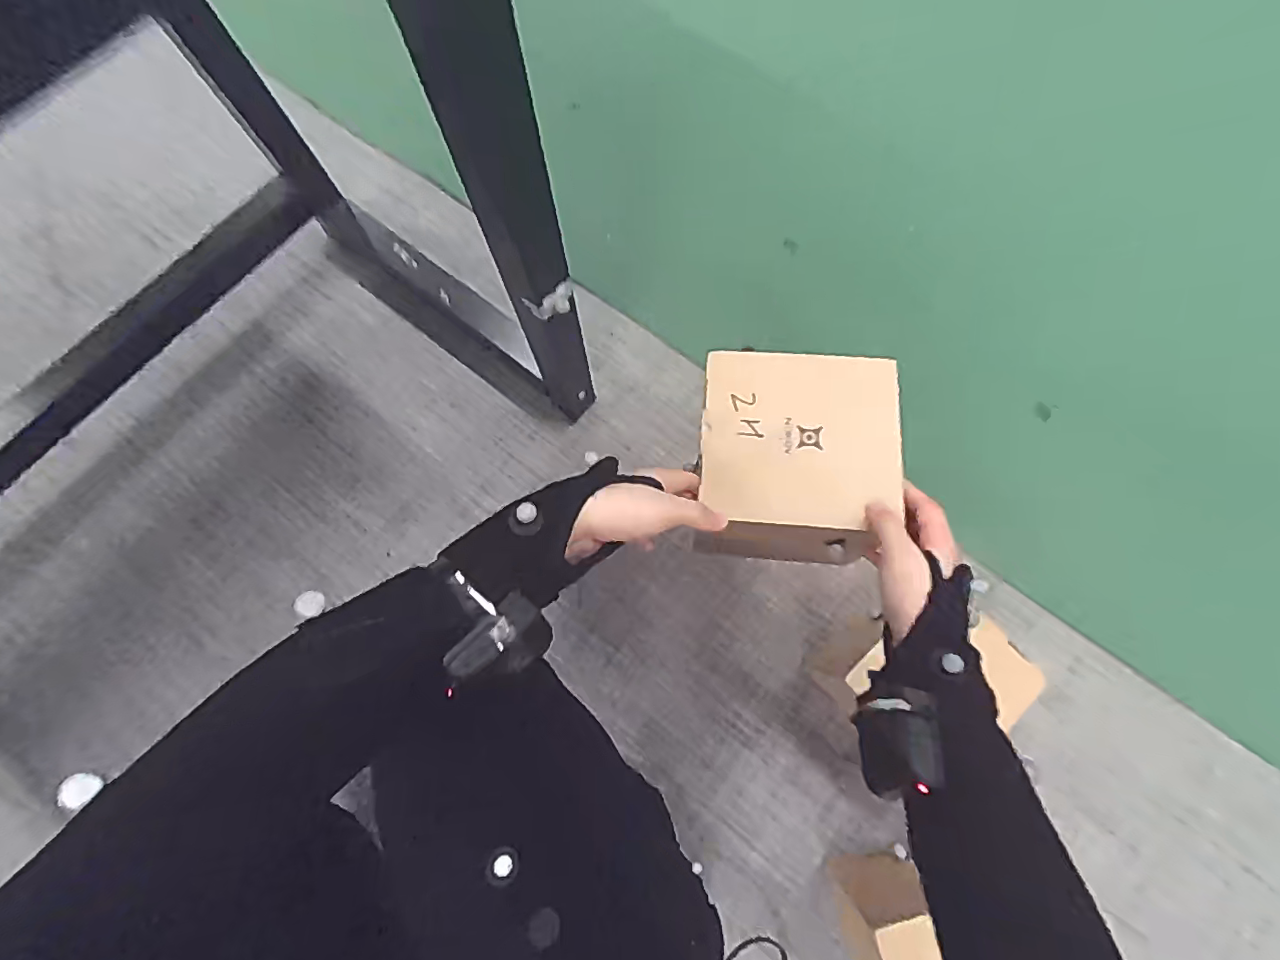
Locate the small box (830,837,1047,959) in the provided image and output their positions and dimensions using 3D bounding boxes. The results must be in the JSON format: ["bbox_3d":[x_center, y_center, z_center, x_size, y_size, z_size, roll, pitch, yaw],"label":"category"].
[{"bbox_3d":[0.341,0.549,0.617,0.168,0.176,0.179,-13,74,-3],"label":"small box"}]

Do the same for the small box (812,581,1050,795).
[{"bbox_3d":[0.353,0.250,0.694,0.179,0.176,0.168,-41,80,-9],"label":"small box"}]
